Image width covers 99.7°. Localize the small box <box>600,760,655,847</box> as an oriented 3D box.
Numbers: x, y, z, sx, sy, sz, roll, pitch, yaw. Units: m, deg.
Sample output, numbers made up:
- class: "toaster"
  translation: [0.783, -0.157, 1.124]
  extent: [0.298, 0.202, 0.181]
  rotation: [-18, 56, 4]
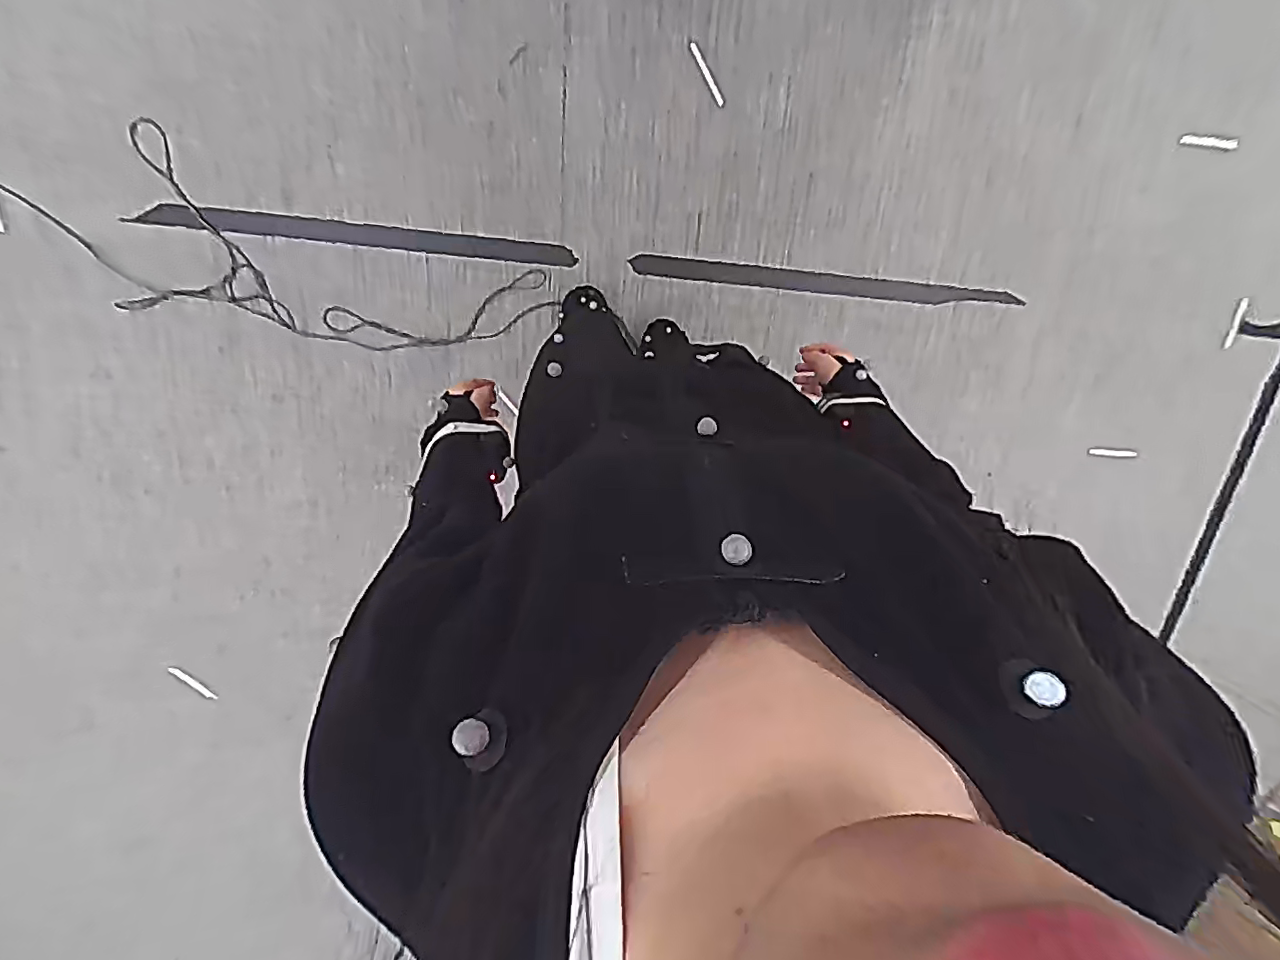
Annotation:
- class: "small box"
  translation: [-0.043, 1.058, 1.776]
  extent: [0.168, 0.176, 0.179]
  rotation: [-6, 109, -3]
